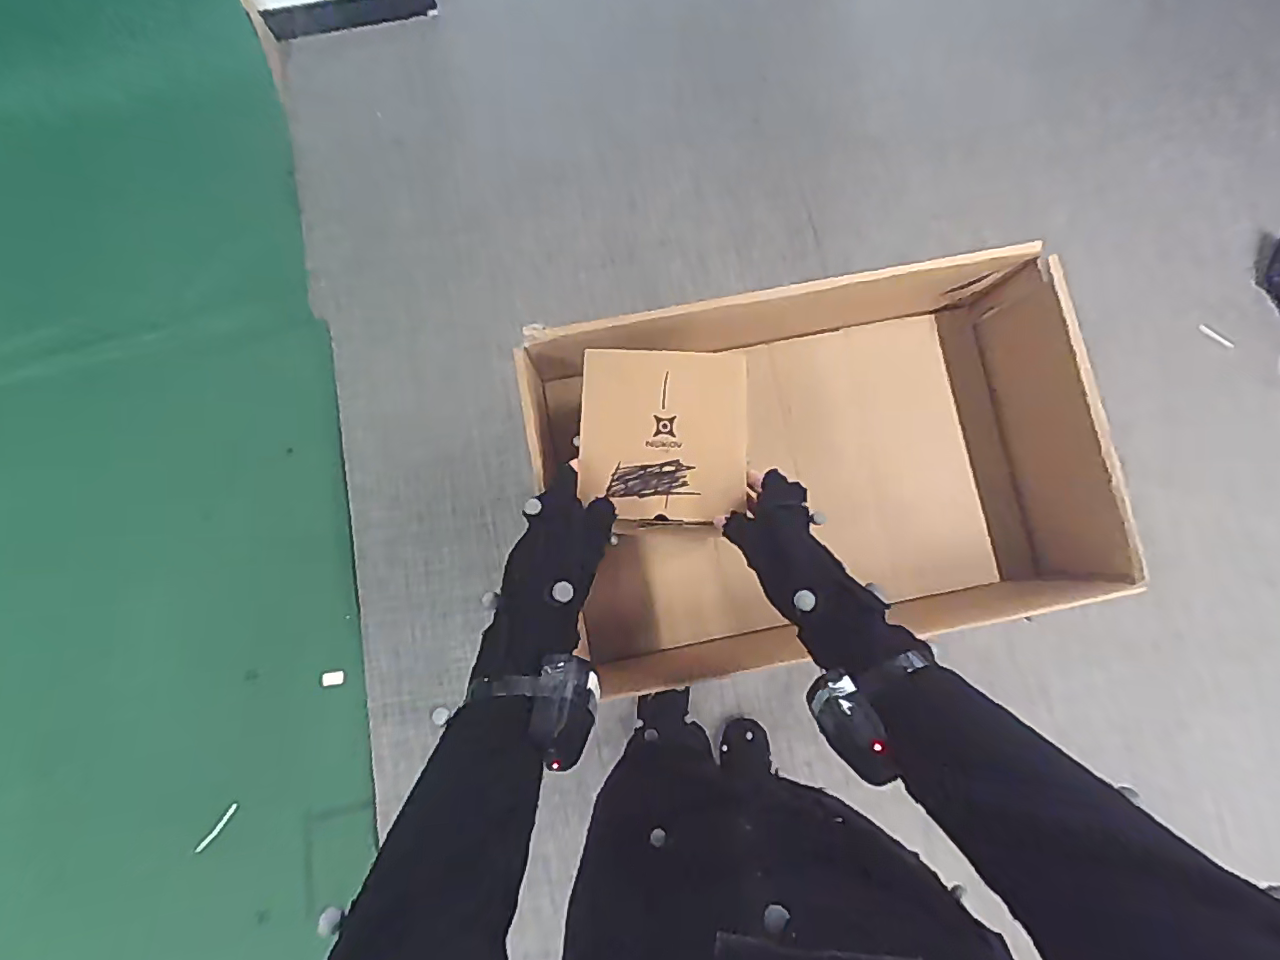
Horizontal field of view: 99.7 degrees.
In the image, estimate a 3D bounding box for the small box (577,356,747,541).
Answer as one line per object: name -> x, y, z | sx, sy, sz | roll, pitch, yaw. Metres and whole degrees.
small box -> 0.026, -0.025, 0.613 | 0.168, 0.176, 0.179 | 2, 78, 1
